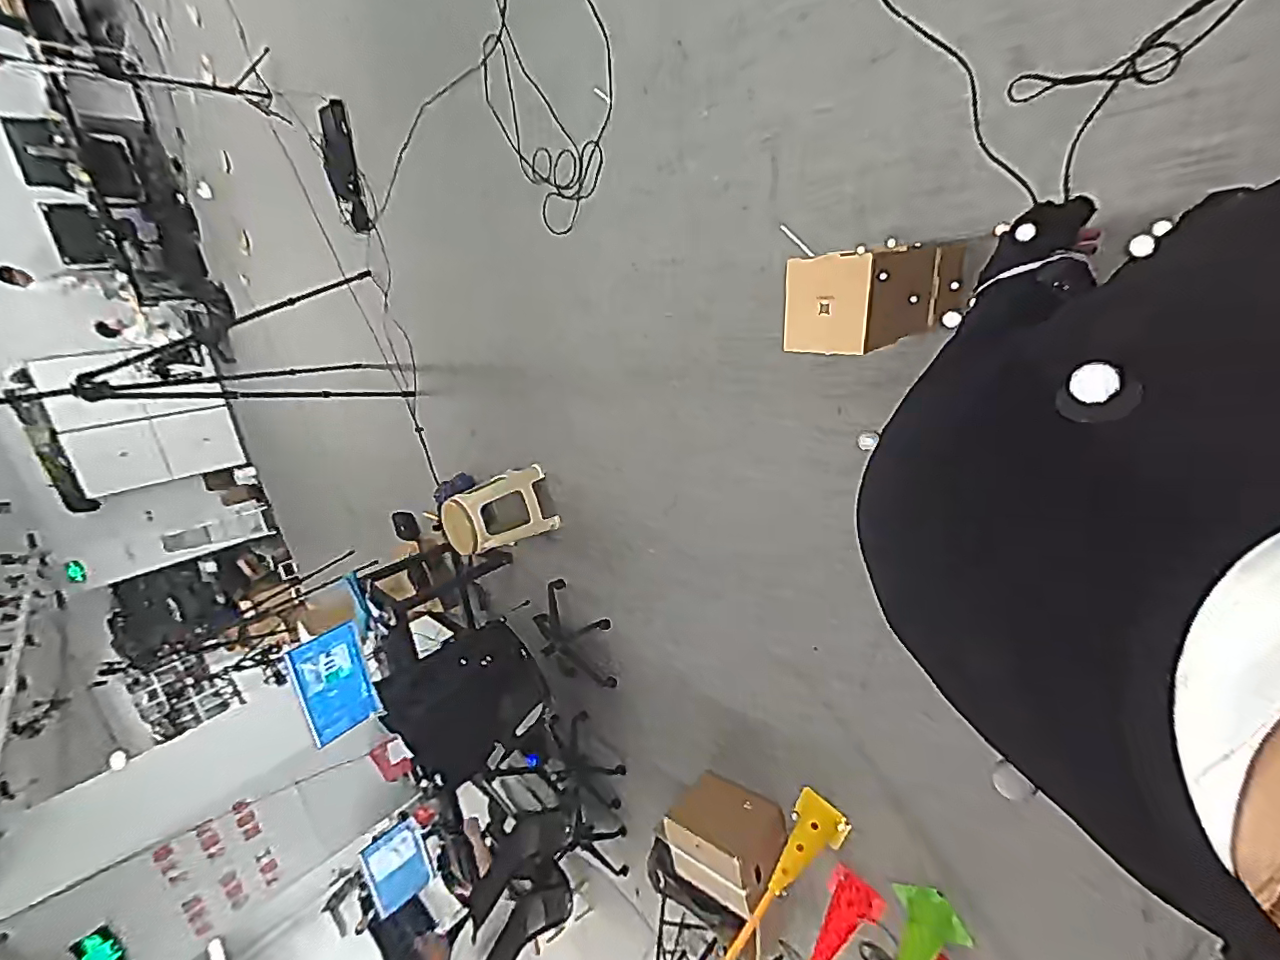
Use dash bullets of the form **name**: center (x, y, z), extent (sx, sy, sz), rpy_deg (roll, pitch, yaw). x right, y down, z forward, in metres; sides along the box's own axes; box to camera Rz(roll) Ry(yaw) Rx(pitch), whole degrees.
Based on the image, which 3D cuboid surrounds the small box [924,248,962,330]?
- **small box**: center (0.633, -0.449, 1.269), extent (0.179, 0.176, 0.168), rpy_deg (15, 117, 41)

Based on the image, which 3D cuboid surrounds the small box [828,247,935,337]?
- **small box**: center (0.515, -0.402, 1.165), extent (0.168, 0.176, 0.179), rpy_deg (16, 118, 41)

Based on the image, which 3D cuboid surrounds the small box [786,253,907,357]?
- **small box**: center (0.404, -0.345, 1.060), extent (0.168, 0.176, 0.179), rpy_deg (16, 117, 42)
